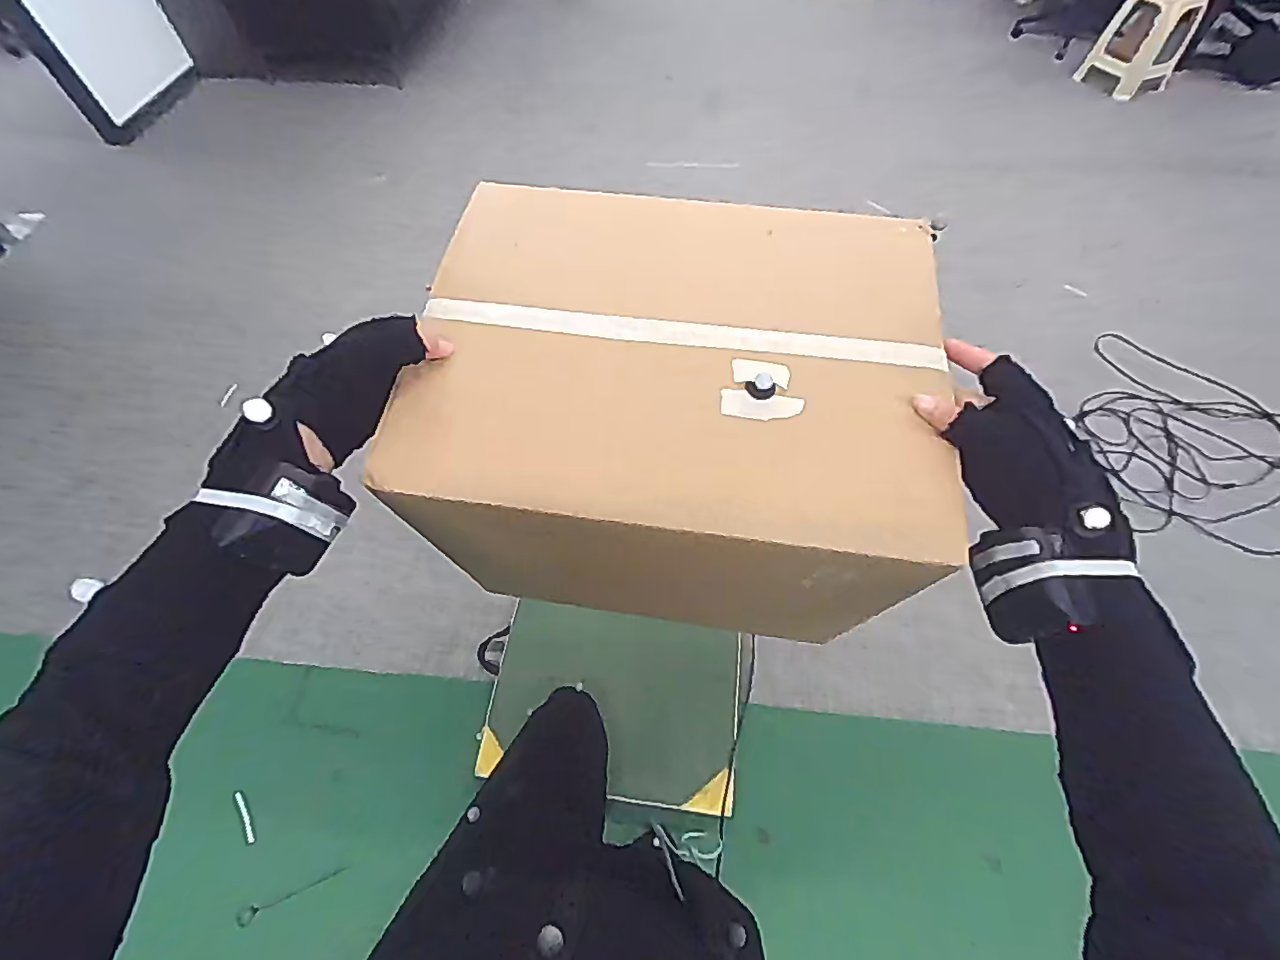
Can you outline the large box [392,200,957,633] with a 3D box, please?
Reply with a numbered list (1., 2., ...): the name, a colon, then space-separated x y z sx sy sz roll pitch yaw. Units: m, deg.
1. large box: 0.036 -0.044 0.570 0.408 0.320 0.320 8 65 4
